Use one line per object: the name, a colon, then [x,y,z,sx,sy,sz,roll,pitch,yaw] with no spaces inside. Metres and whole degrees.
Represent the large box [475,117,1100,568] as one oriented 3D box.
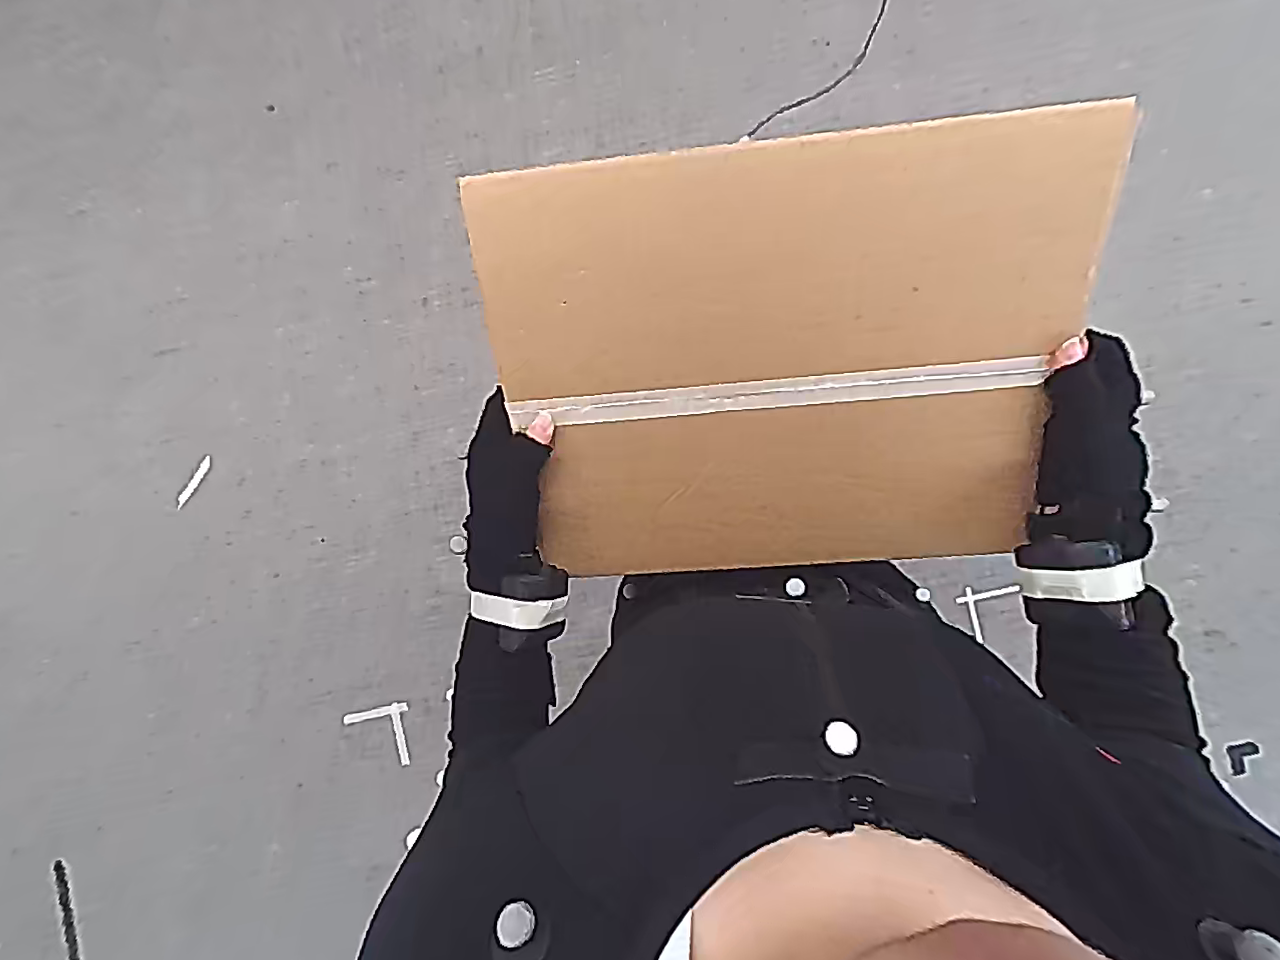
large box: [0.107,-0.139,0.543,0.408,0.320,0.320,-4,117,5]
